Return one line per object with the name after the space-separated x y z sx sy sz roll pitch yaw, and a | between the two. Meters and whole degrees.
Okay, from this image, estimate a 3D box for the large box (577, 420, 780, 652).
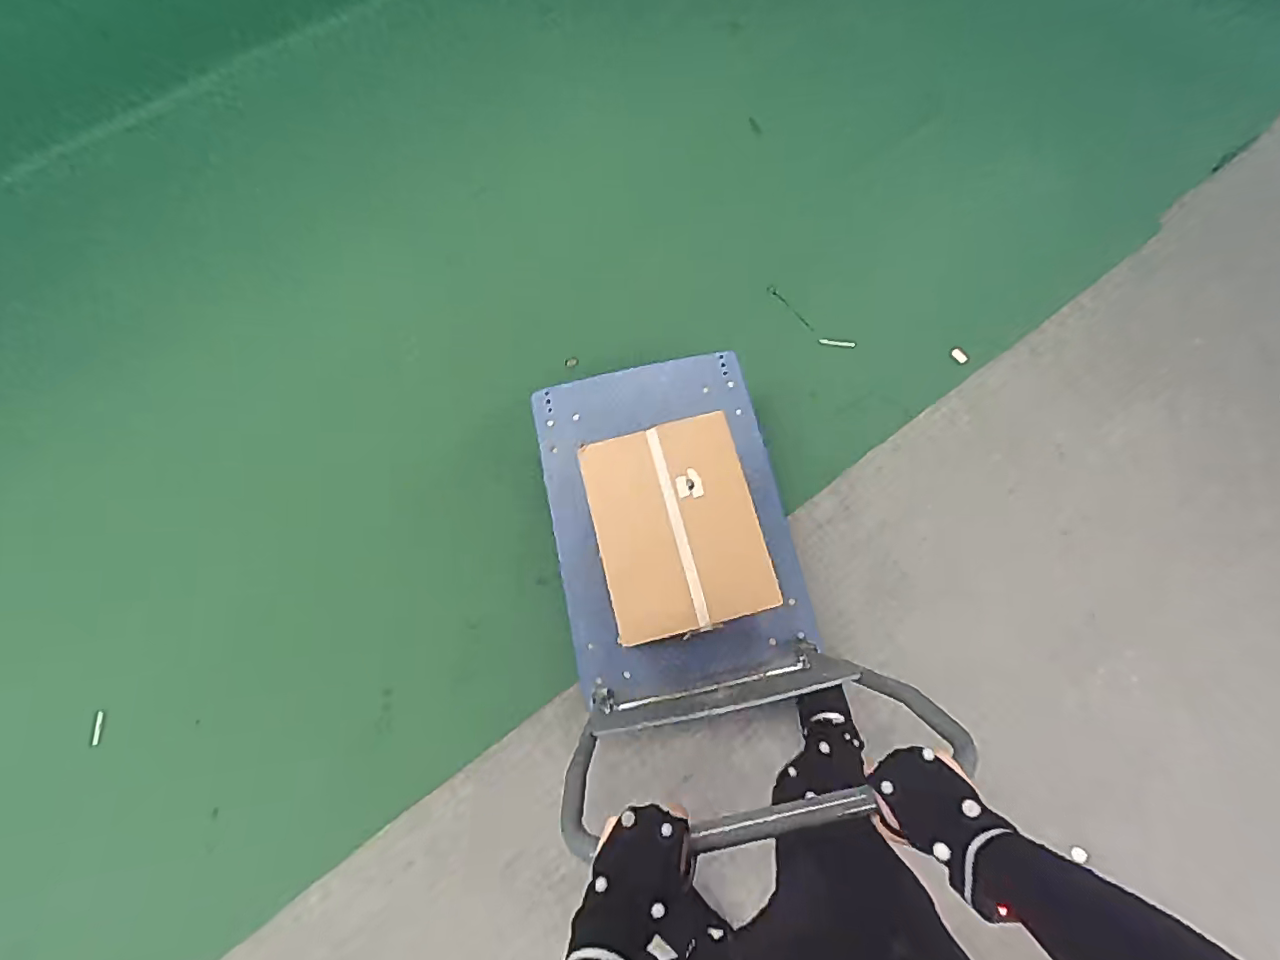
0.076 0.136 1.200 0.320 0.320 0.408 -14 75 -2 | large box
